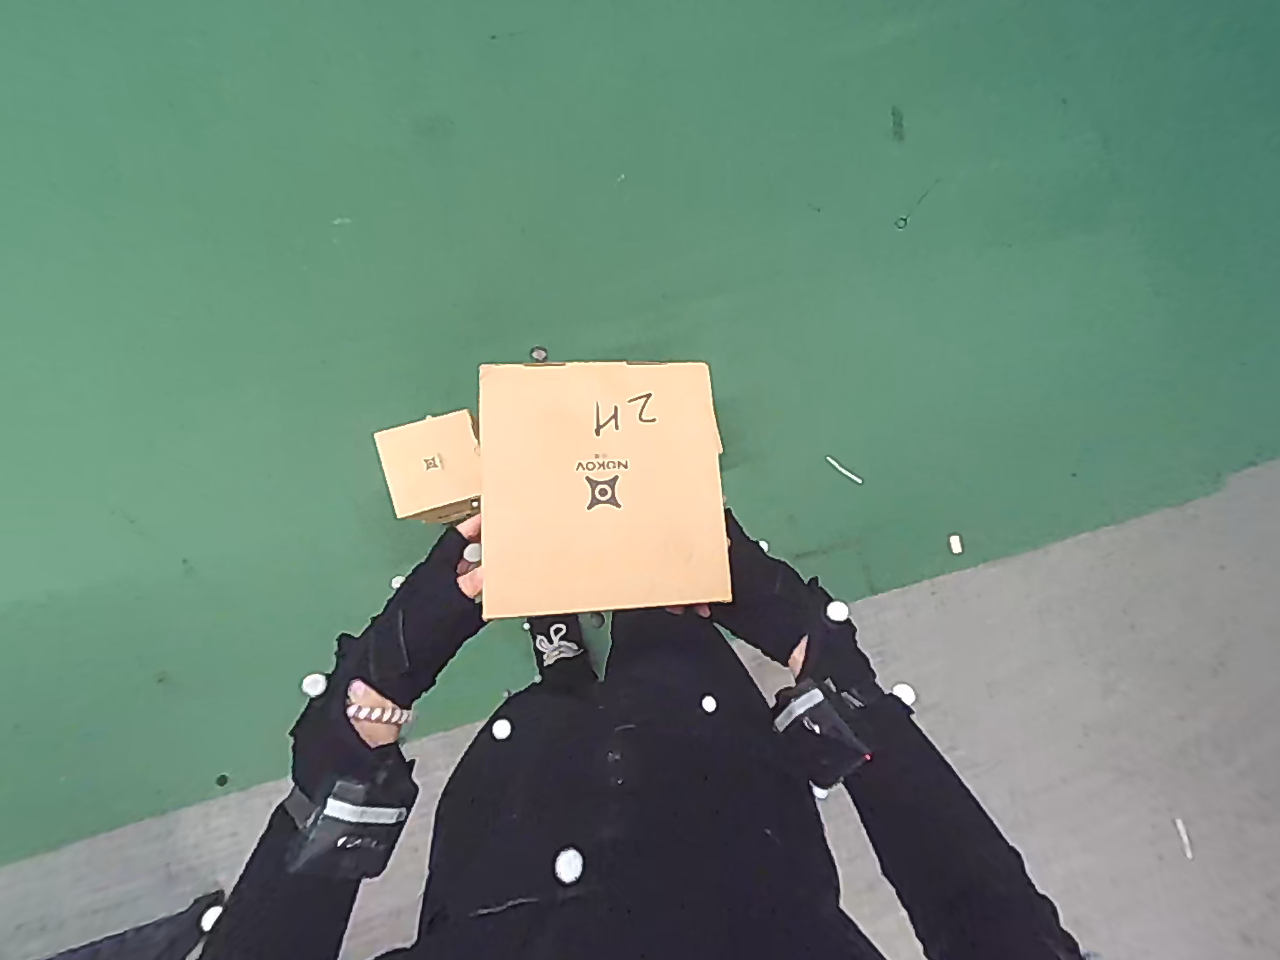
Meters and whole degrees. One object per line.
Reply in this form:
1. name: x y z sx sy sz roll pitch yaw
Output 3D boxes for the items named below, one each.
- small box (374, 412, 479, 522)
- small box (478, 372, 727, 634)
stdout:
1. small box: -0.389 -0.018 1.065 0.179 0.176 0.168 -17 87 -9
2. small box: -0.035 0.025 0.444 0.168 0.176 0.179 -2 78 -8
